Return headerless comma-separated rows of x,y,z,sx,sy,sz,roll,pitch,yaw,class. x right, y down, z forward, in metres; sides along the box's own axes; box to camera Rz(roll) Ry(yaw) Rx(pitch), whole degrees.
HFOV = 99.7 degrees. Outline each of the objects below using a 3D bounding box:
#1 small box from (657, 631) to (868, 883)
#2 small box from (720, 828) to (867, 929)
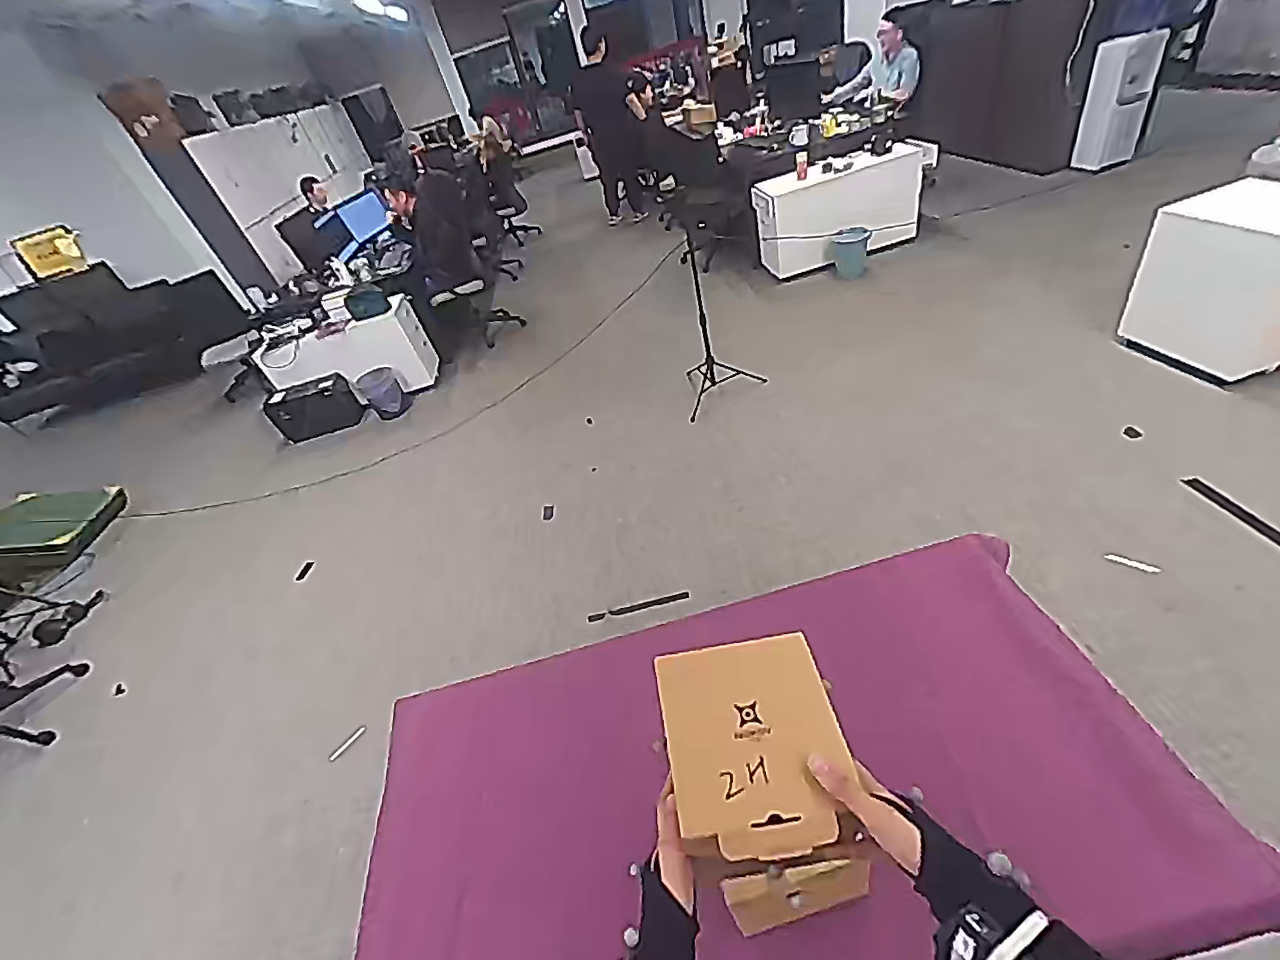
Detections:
0.115,0.291,0.572,0.168,0.176,0.179,-10,42,0,small box
0.182,0.464,0.726,0.179,0.176,0.168,-19,39,-2,small box
